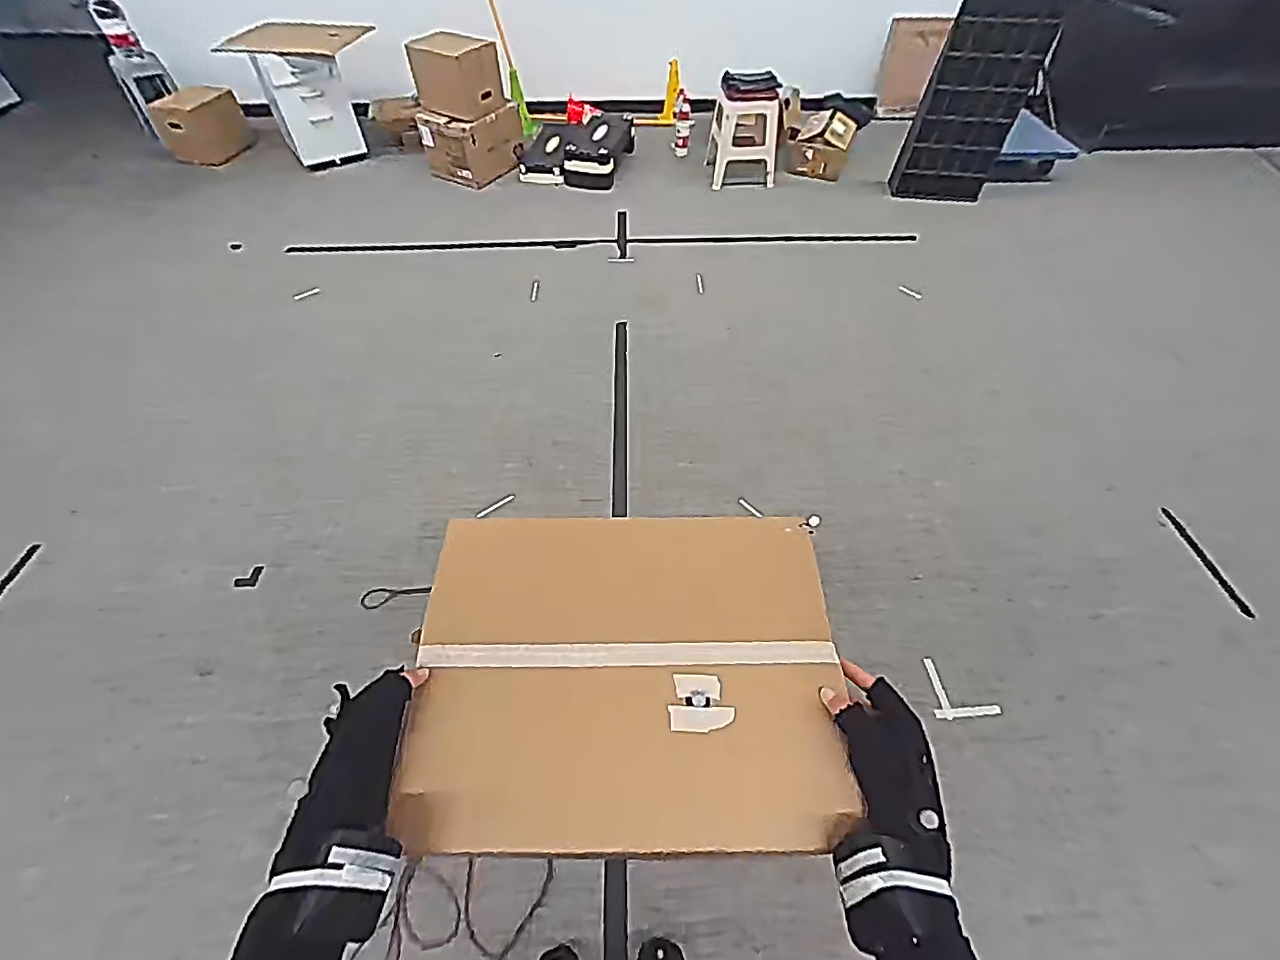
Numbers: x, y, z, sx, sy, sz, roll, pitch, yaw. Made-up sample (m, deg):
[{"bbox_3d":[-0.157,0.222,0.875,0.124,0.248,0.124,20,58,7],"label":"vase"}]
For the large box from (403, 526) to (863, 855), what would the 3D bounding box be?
[{"bbox_3d":[-0.009,0.266,0.665,0.408,0.320,0.320,0,55,0],"label":"large box"}]
